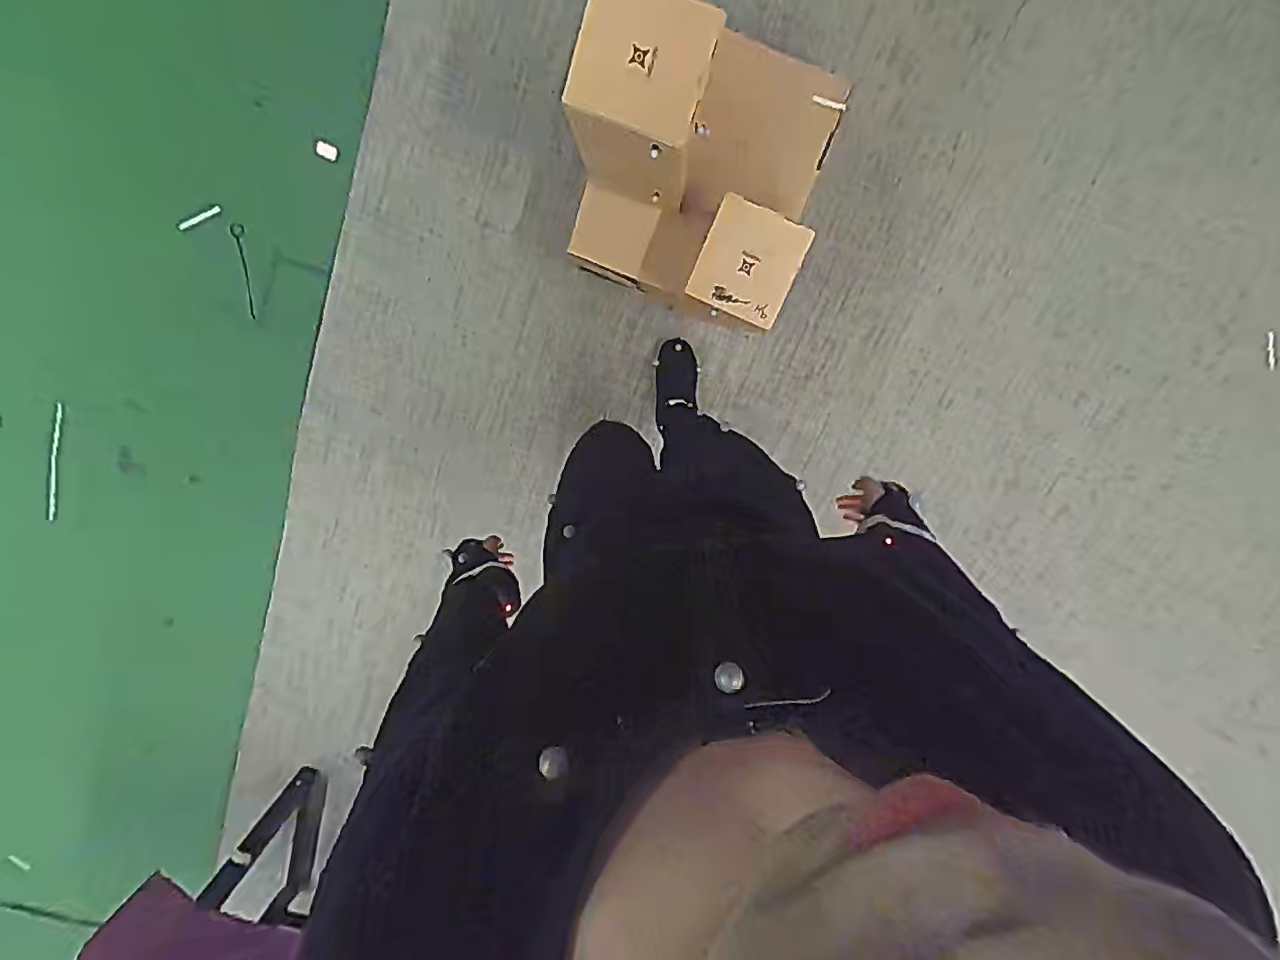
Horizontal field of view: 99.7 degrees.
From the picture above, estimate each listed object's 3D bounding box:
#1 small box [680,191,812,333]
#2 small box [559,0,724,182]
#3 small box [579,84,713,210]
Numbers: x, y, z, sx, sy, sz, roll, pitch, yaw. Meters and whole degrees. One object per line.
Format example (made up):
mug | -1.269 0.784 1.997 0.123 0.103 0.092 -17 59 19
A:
small box | 0.179 -0.382 0.983 0.168 0.176 0.179 24 103 -5
small box | 0.001 -0.561 0.778 0.179 0.176 0.168 19 102 -3
small box | 0.010 -0.593 0.938 0.179 0.176 0.168 18 102 -2
